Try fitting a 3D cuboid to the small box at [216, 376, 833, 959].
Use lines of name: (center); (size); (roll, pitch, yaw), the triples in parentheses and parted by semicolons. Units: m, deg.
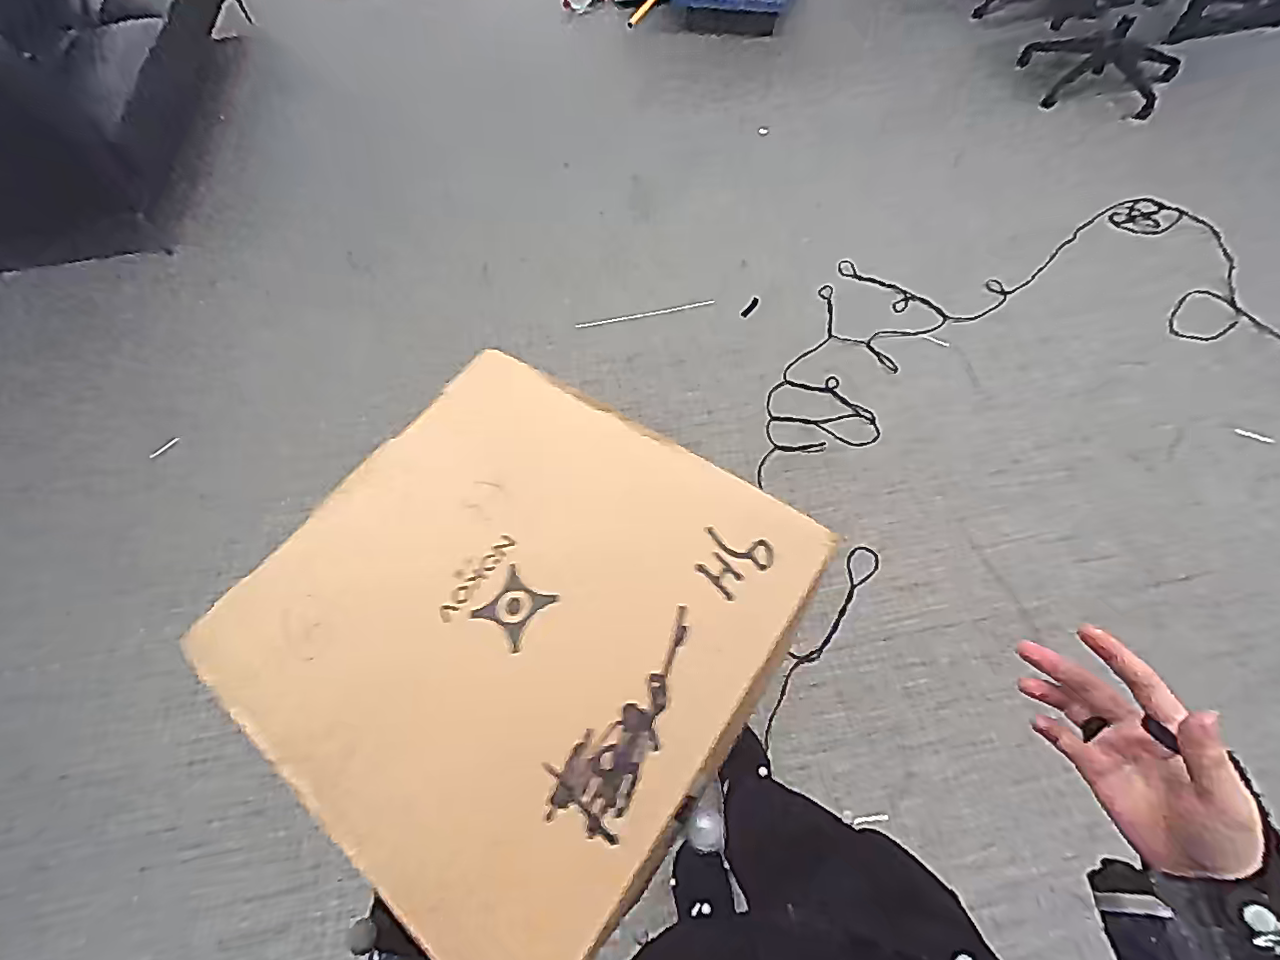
small box: (-0.035, 0.087, 0.265); (0.179, 0.176, 0.168); (29, 69, 23)
